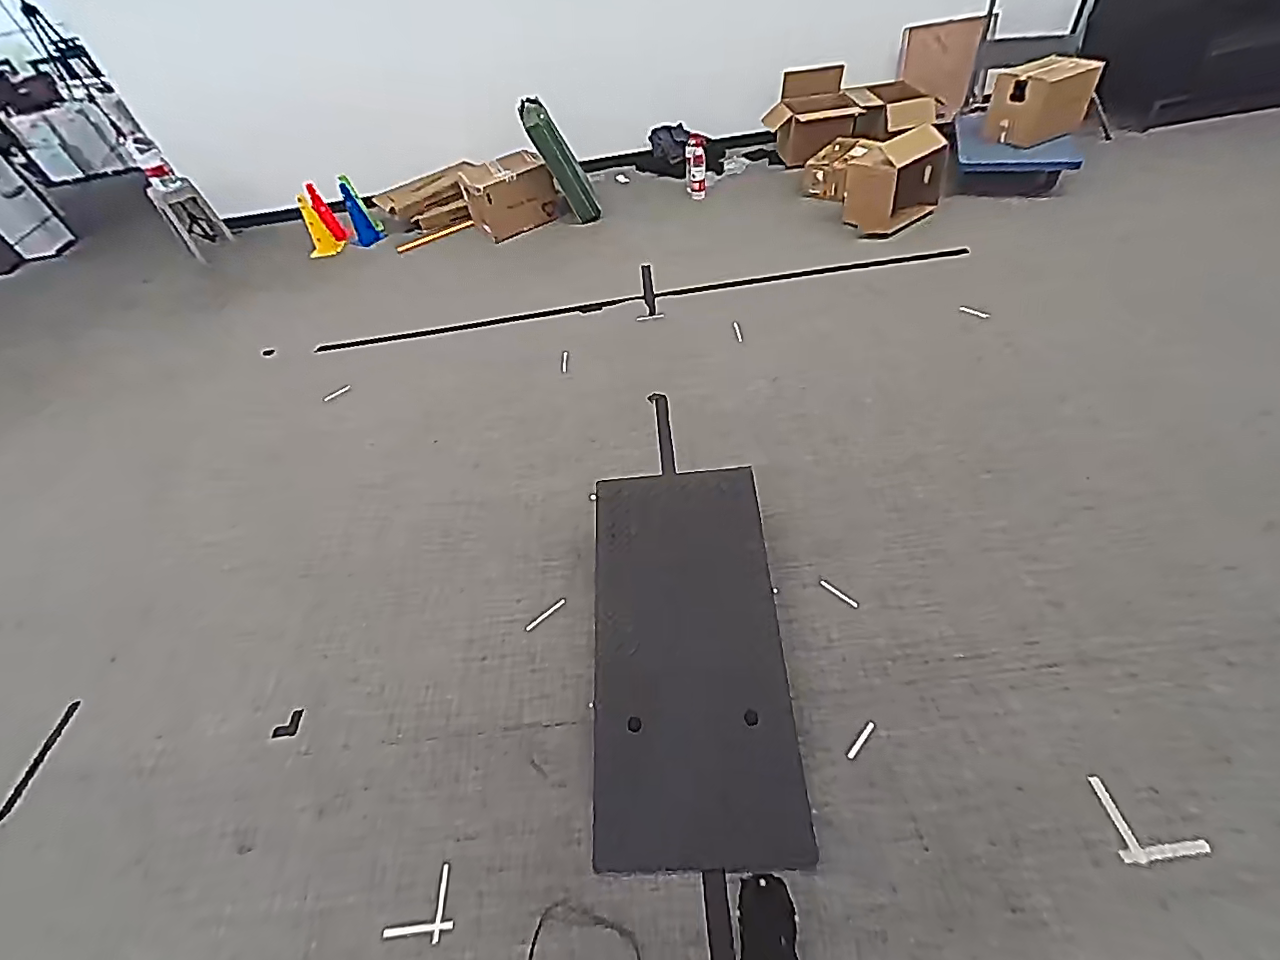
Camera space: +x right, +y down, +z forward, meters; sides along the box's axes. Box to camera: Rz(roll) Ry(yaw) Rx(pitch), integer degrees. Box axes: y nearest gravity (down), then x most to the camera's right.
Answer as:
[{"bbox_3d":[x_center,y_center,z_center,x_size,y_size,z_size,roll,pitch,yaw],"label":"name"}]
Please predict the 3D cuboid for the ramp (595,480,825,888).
[{"bbox_3d":[0.130,0.448,1.436,0.509,0.206,0.991,-7,47,2],"label":"ramp"}]
